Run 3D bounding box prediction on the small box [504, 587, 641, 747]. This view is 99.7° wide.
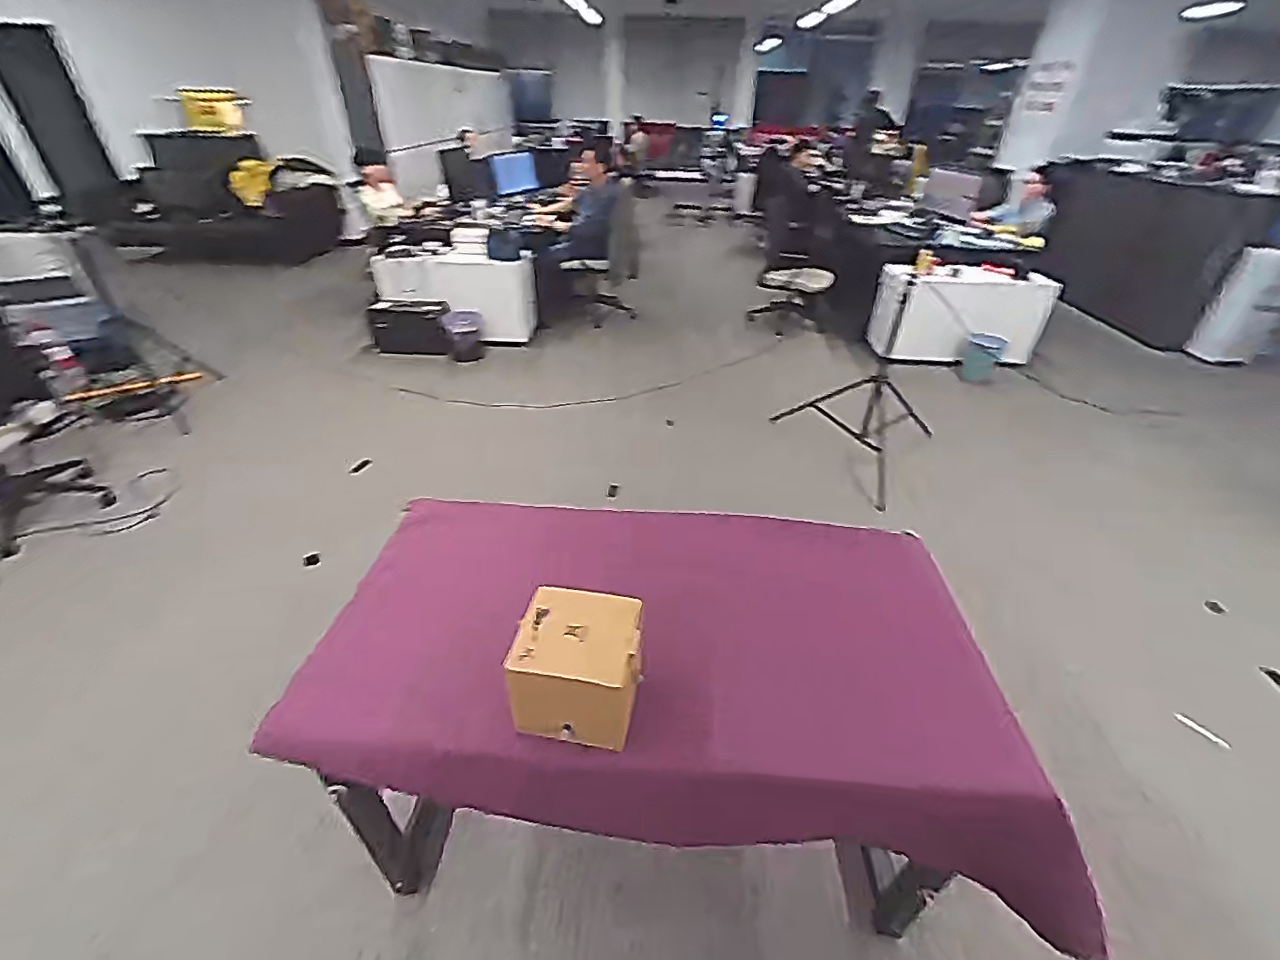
[{"bbox_3d":[-0.099,0.301,0.870,0.179,0.176,0.168,7,35,7],"label":"small box"}]
